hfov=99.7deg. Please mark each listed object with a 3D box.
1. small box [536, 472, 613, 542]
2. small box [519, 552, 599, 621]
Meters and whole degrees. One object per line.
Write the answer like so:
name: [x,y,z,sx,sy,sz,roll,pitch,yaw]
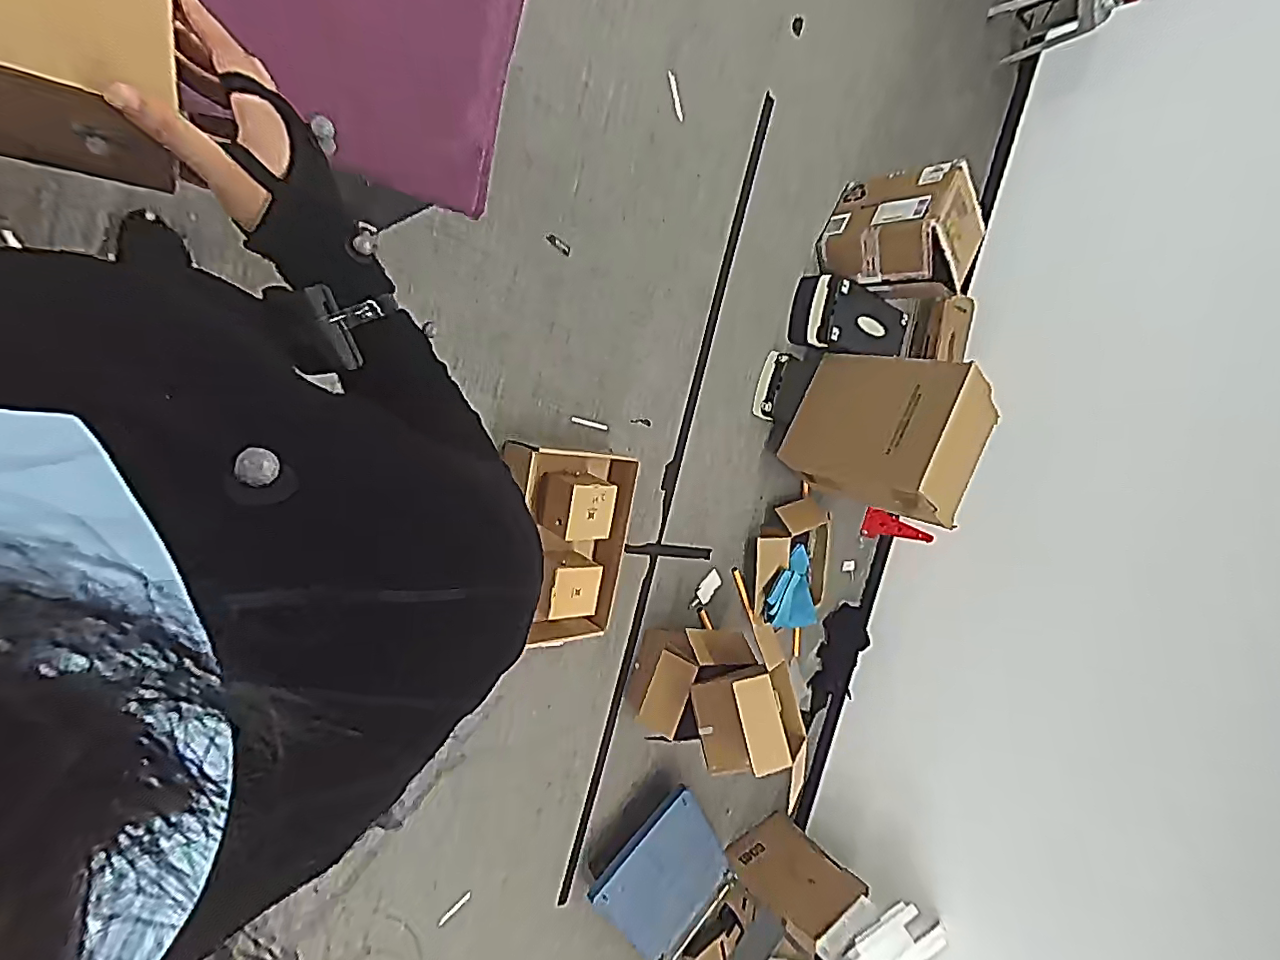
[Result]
small box: [-0.211,0.082,1.698,0.168,0.176,0.179,2,103,-42]
small box: [-0.262,0.334,1.736,0.179,0.176,0.168,4,100,-41]
